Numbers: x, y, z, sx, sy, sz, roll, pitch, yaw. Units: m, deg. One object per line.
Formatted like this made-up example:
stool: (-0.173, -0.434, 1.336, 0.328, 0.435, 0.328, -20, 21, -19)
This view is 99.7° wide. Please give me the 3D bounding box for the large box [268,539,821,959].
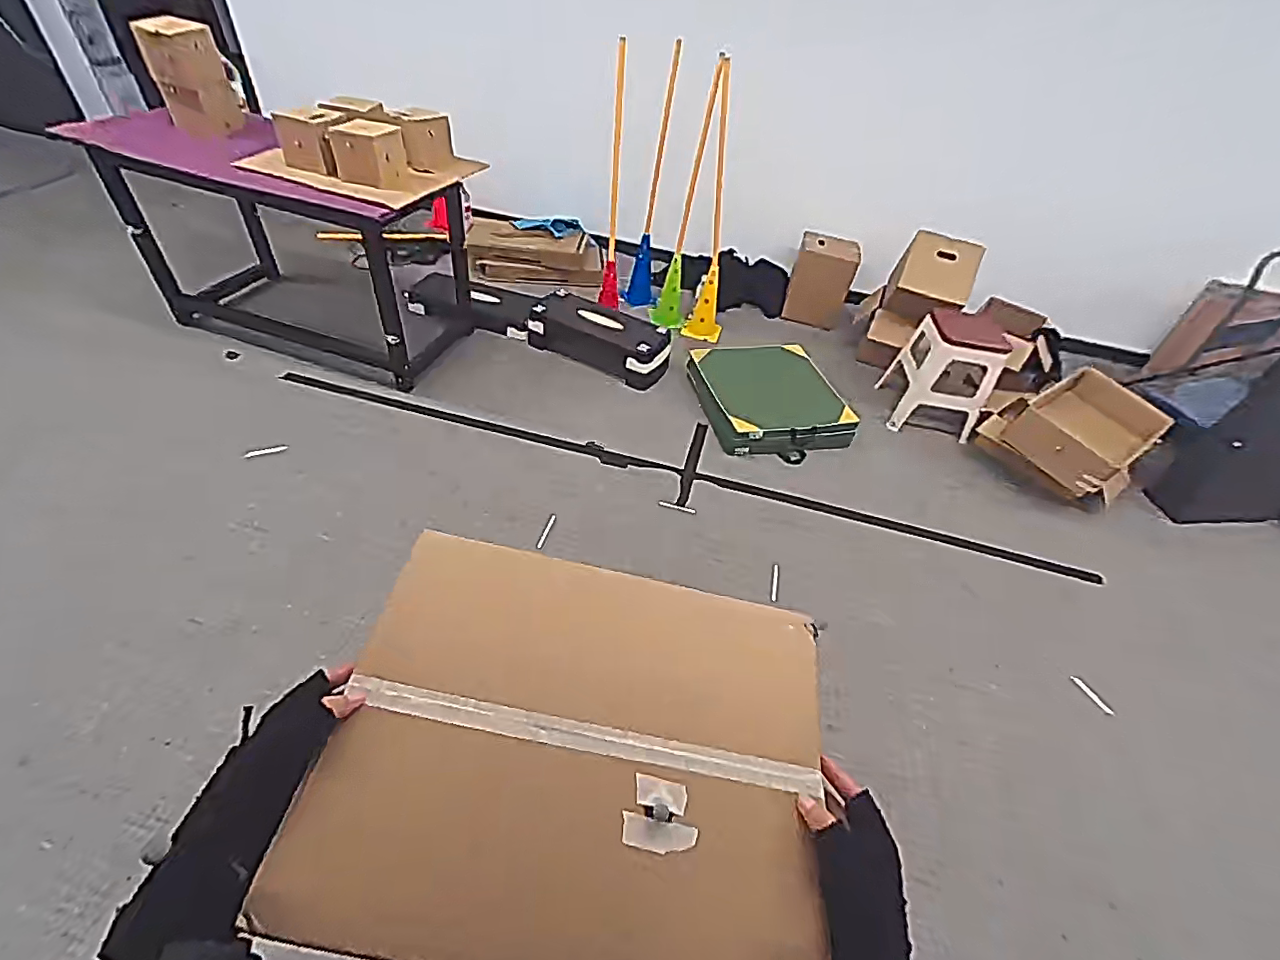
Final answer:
large box: (-0.070, 0.304, 0.585, 0.408, 0.320, 0.320, 13, 53, -3)
